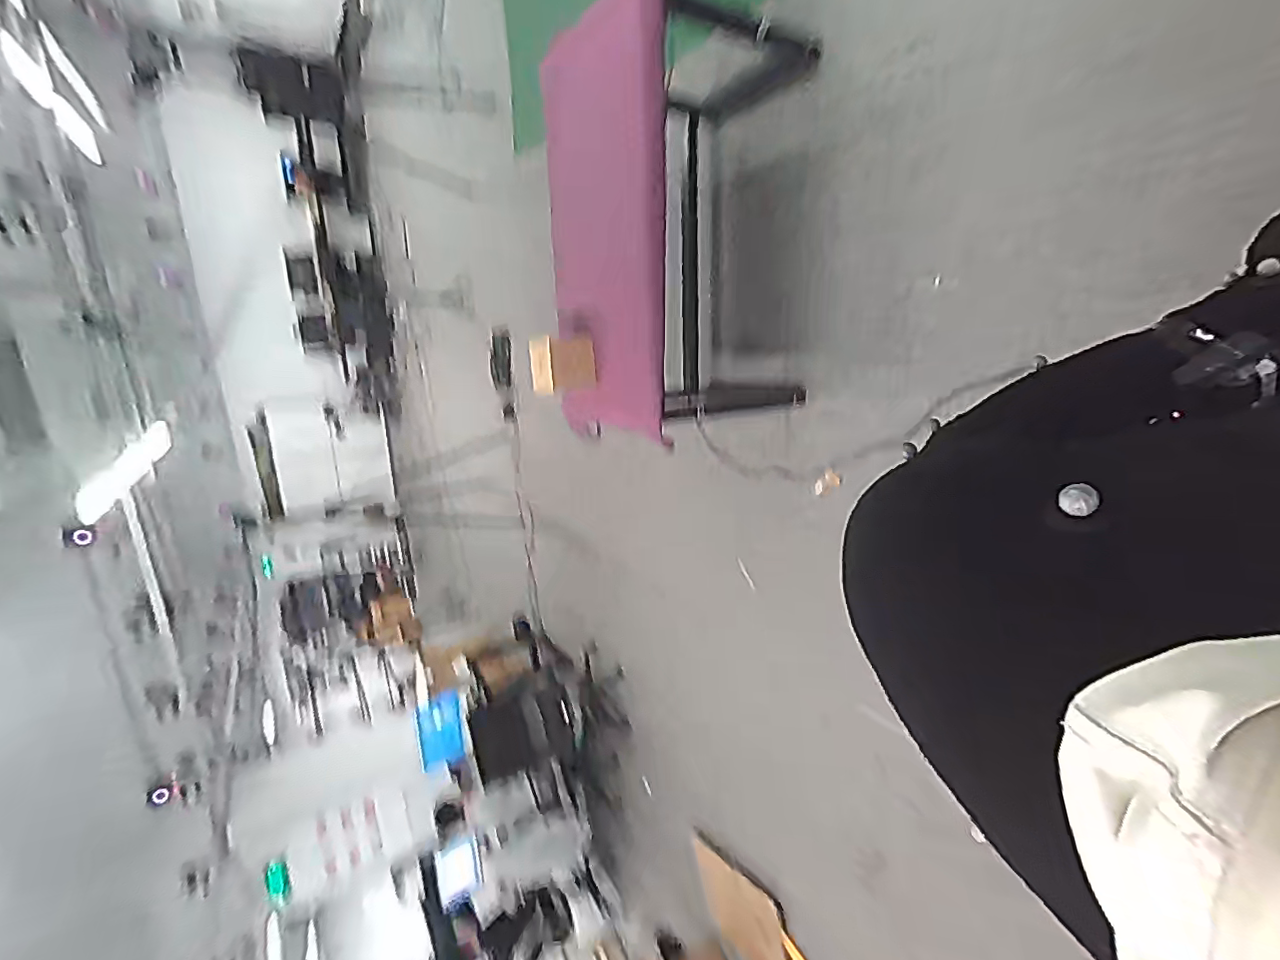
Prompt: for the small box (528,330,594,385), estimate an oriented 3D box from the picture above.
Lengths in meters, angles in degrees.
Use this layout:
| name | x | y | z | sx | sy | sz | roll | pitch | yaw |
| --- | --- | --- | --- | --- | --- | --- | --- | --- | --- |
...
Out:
| name | x | y | z | sx | sy | sz | roll | pitch | yaw |
| --- | --- | --- | --- | --- | --- | --- | --- | --- | --- |
| small box | -0.271 | -0.426 | 1.876 | 0.168 | 0.176 | 0.179 | 15 | 112 | 54 |
